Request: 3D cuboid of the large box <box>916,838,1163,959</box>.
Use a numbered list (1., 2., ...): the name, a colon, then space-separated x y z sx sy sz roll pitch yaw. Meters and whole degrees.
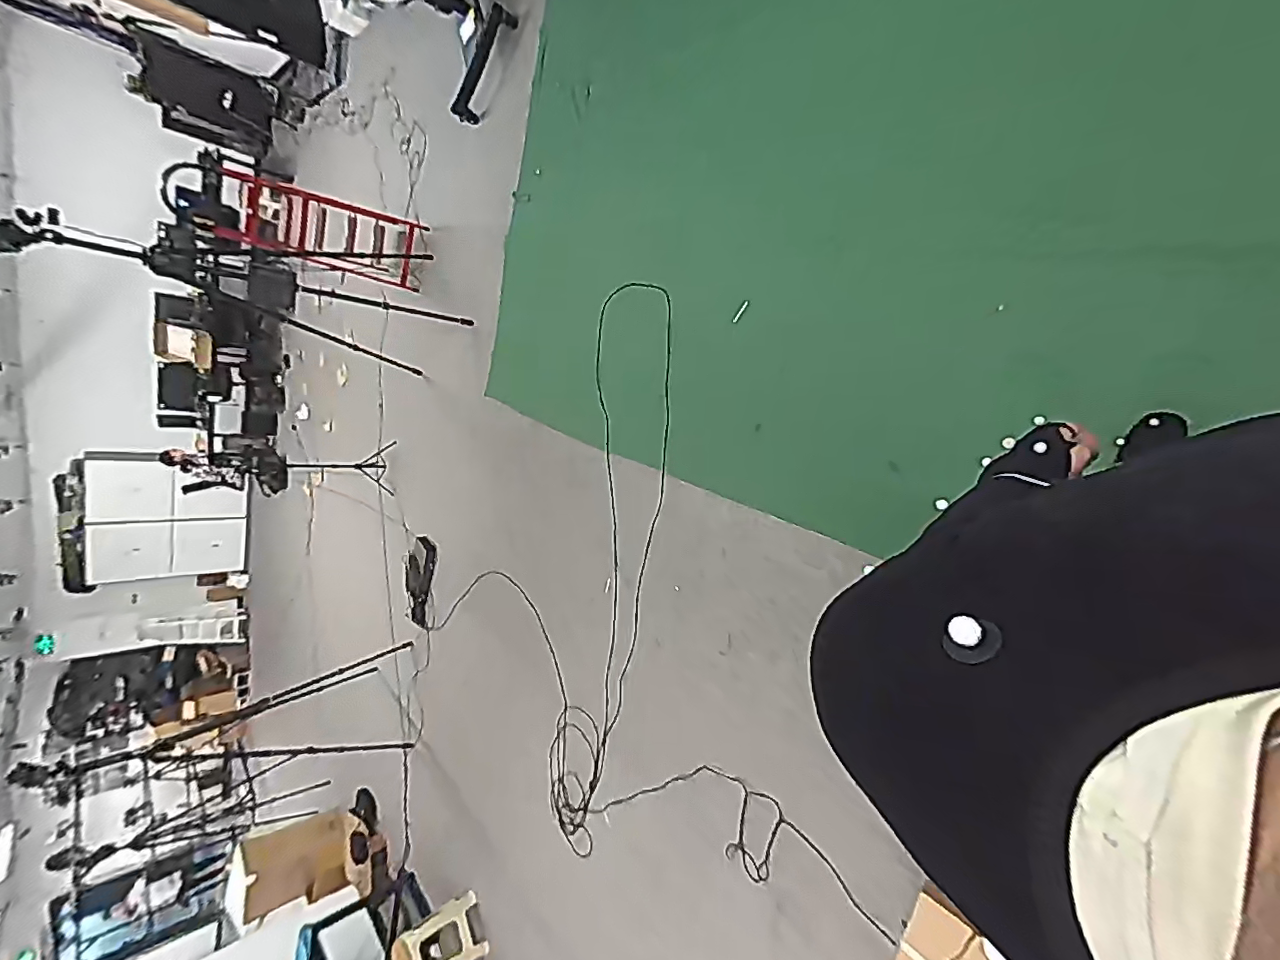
1. large box: 0.914 1.167 1.270 0.408 0.320 0.320 21 105 43
